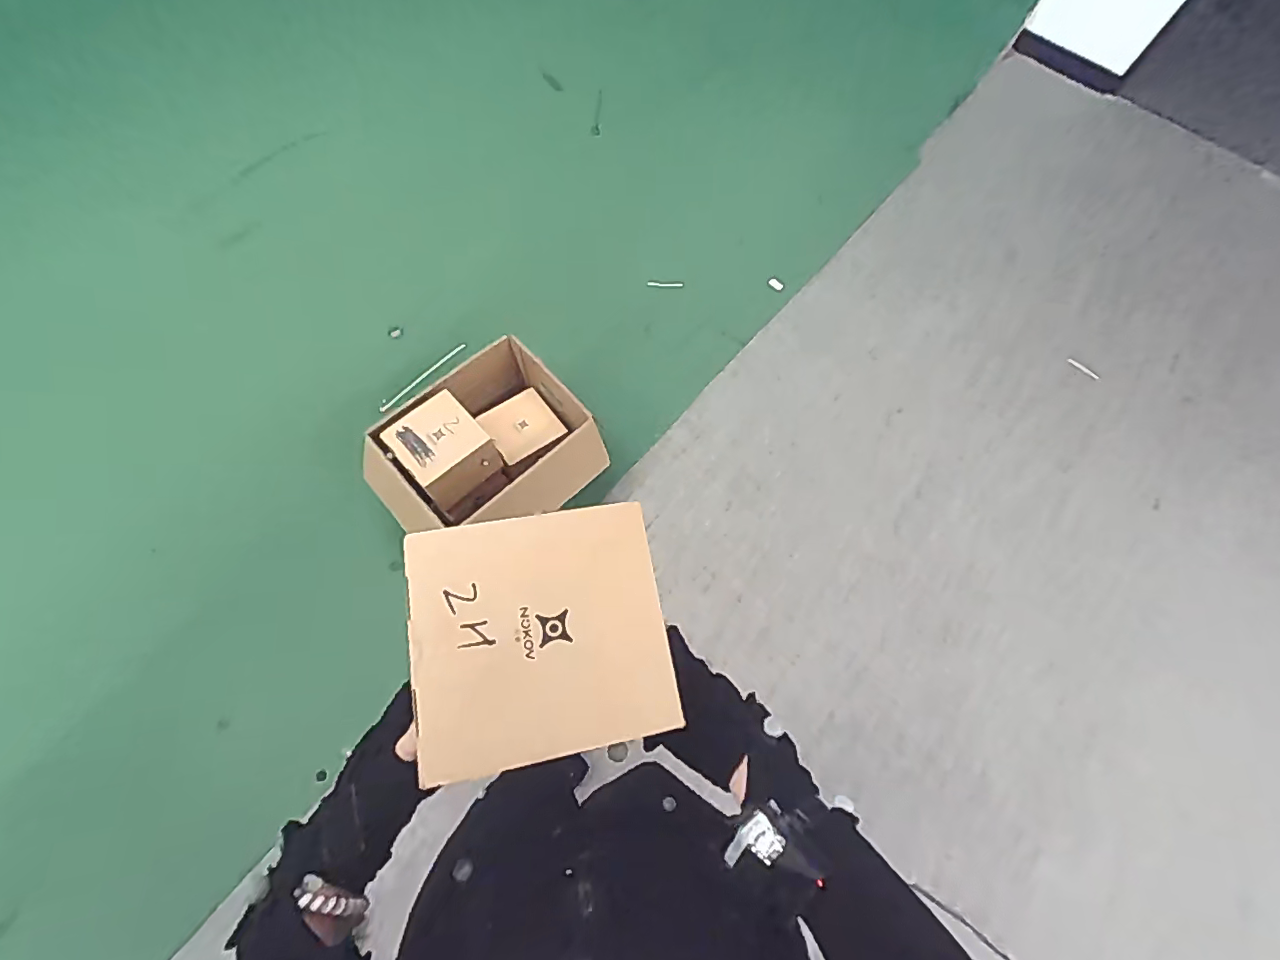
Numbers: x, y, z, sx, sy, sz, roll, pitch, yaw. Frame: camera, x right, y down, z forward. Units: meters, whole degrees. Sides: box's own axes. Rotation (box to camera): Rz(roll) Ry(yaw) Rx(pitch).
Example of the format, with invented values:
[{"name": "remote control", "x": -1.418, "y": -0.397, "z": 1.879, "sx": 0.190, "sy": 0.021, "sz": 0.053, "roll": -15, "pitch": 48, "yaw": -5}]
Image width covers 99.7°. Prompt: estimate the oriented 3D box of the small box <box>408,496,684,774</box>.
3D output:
[{"name": "small box", "x": -0.079, "y": 0.122, "z": 0.450, "sx": 0.179, "sy": 0.176, "sz": 0.168, "roll": -7, "pitch": 72, "yaw": -12}]
